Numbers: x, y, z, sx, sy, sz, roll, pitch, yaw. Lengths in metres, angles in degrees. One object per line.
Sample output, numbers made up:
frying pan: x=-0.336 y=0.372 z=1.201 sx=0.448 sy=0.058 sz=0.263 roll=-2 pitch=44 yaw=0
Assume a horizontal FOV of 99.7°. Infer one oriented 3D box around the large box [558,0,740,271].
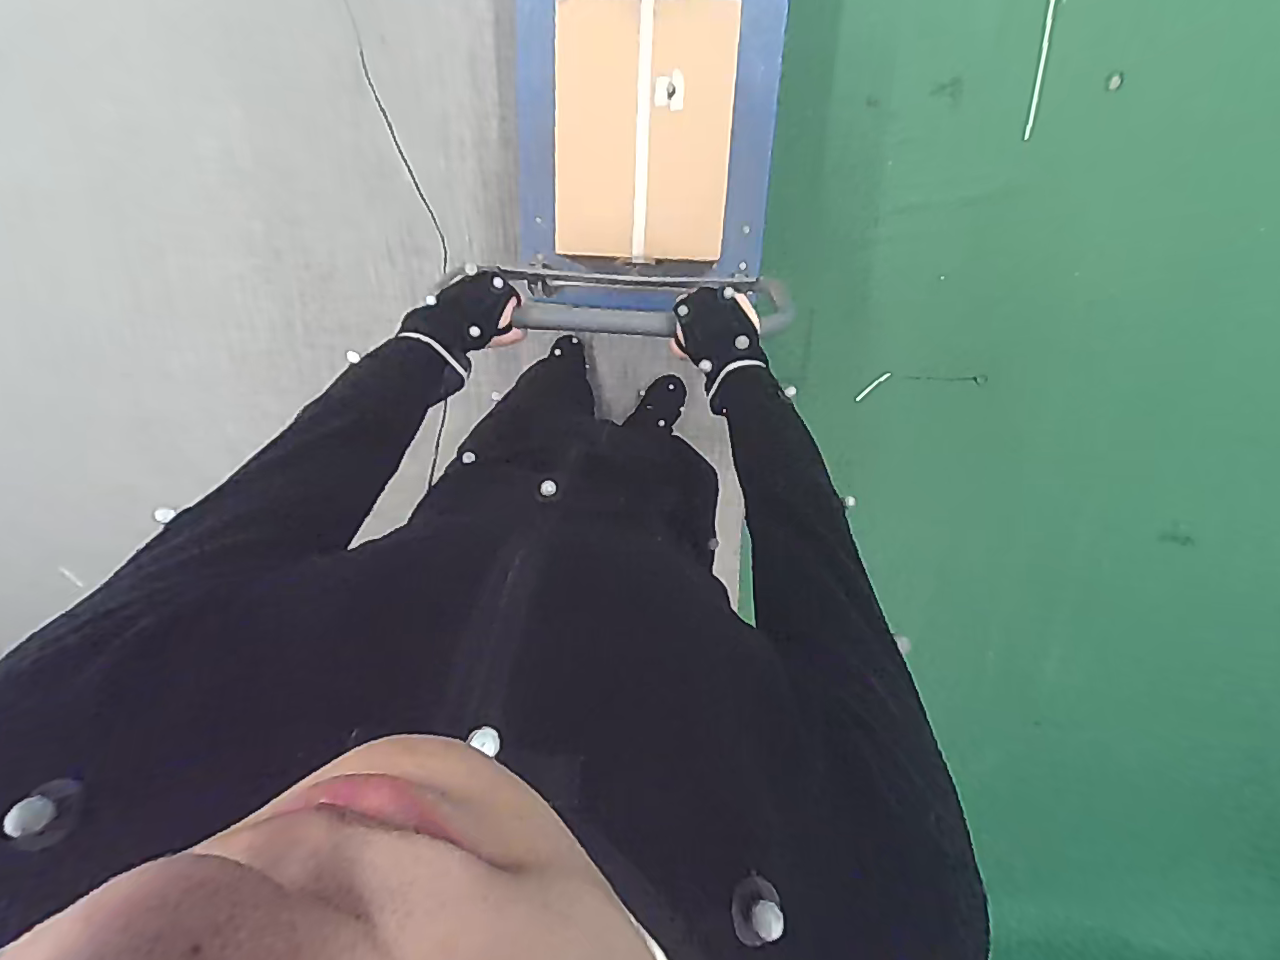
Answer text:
large box: x=0.019 y=-0.651 z=1.100 sx=0.320 sy=0.320 sz=0.408 roll=4 pitch=107 yaw=3
